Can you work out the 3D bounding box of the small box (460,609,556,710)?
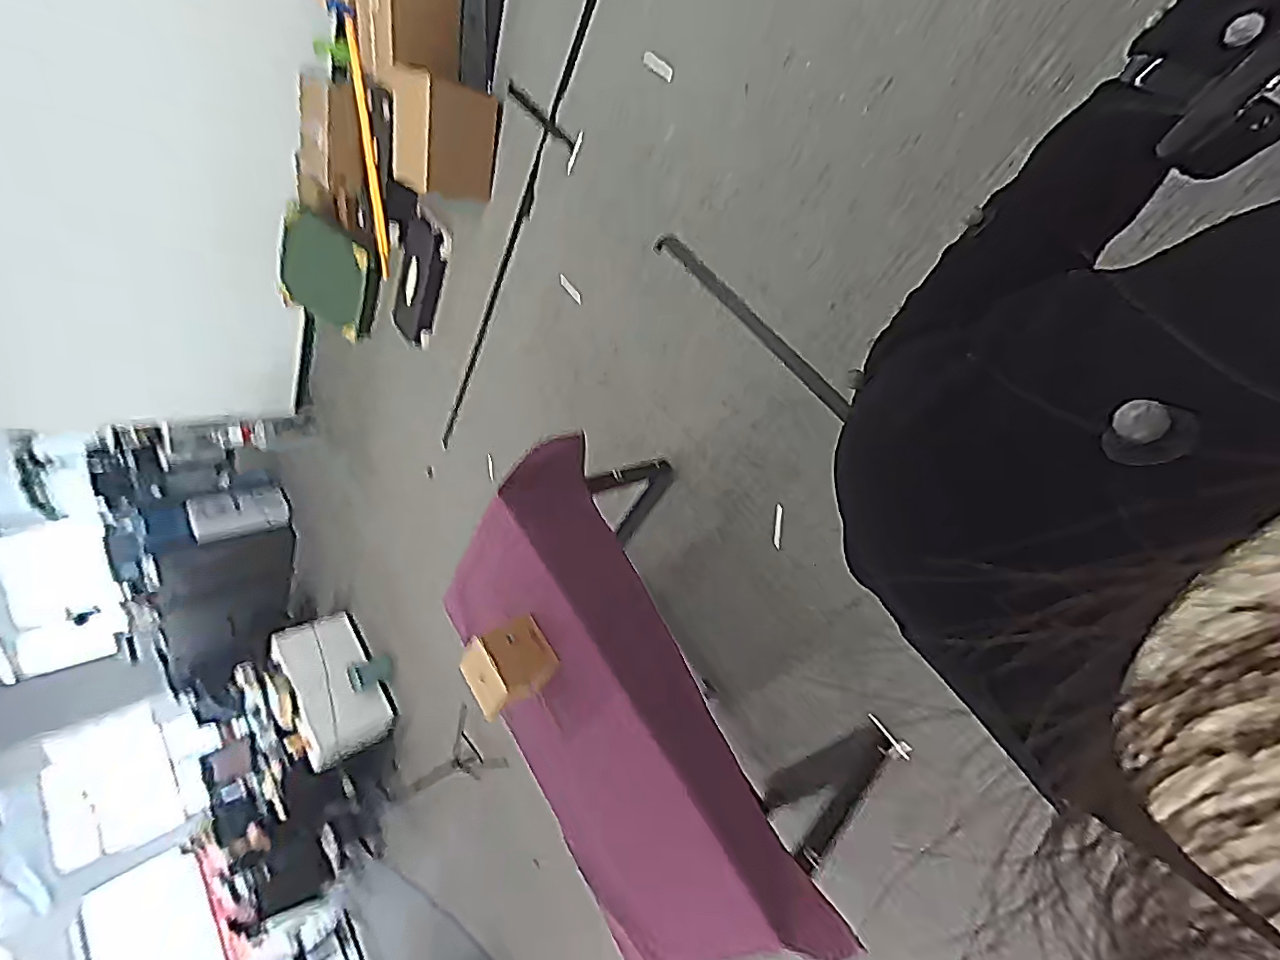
[{"bbox_3d":[-0.350,0.475,1.450,0.168,0.176,0.179,52,130,21],"label":"small box"}]
